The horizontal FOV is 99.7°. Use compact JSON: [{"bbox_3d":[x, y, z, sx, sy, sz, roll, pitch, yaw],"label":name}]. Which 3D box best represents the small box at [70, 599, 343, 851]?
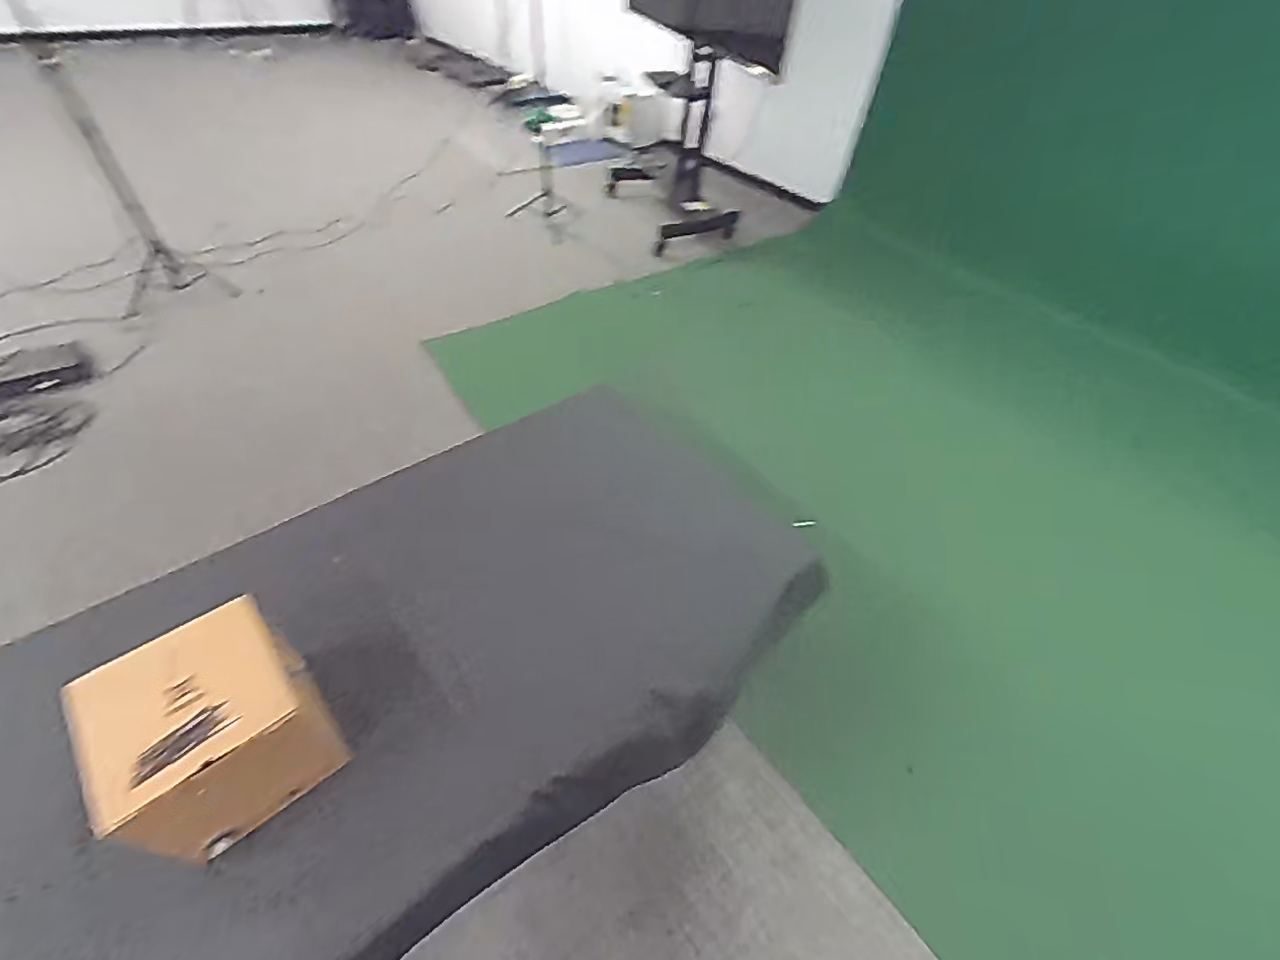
[{"bbox_3d":[-0.467,0.276,0.605,0.168,0.176,0.179,-31,56,-31],"label":"small box"}]
